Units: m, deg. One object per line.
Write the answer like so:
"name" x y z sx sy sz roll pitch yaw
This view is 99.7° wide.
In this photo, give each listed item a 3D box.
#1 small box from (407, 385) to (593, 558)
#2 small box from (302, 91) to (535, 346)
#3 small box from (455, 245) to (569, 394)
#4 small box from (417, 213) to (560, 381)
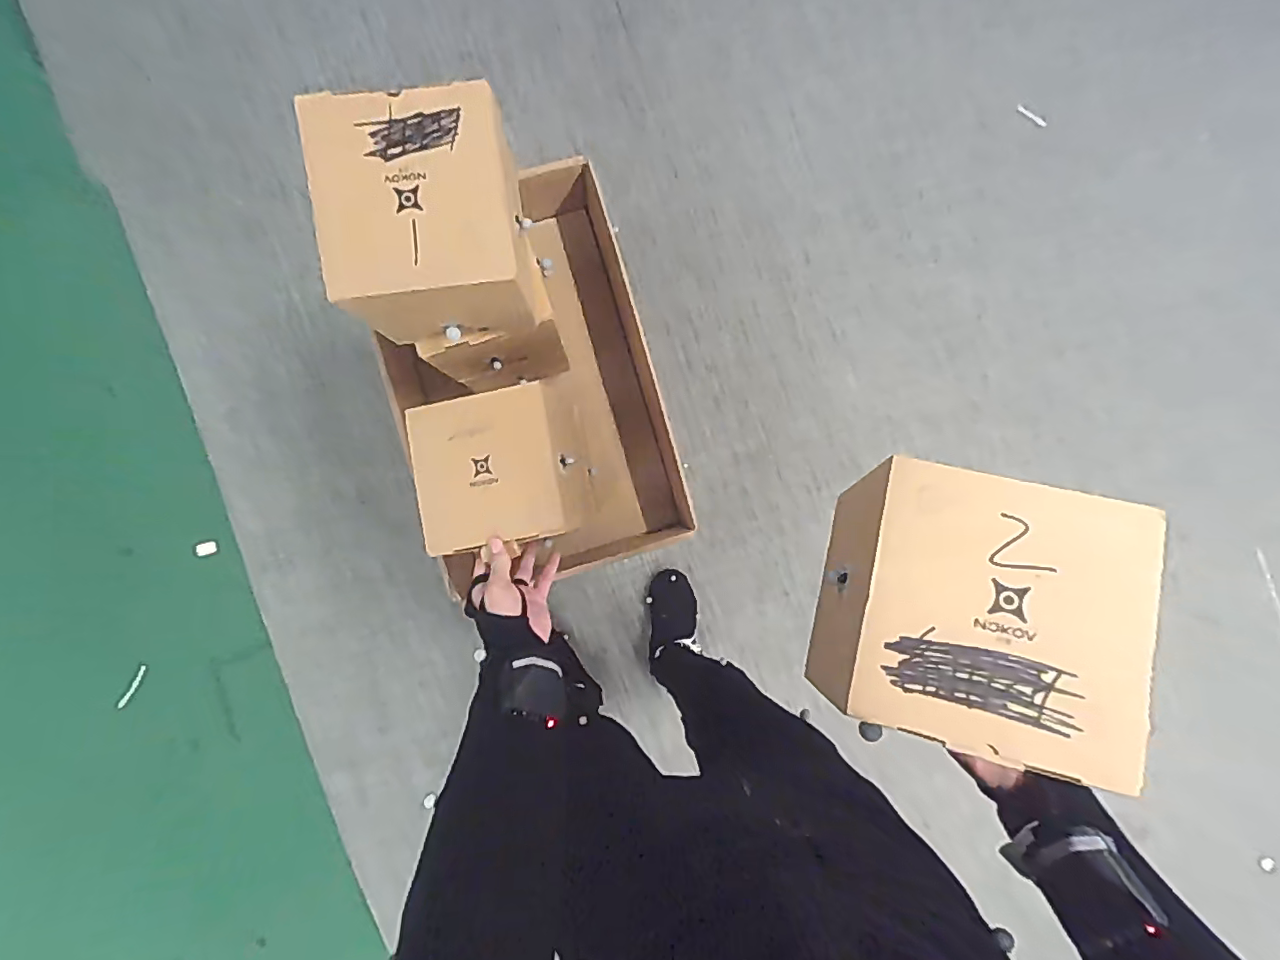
"small box" -0.166 -0.007 0.693 0.168 0.176 0.179 -11 86 8
"small box" -0.209 -0.251 0.555 0.168 0.176 0.179 -8 92 -4
"small box" -0.221 -0.251 0.881 0.168 0.176 0.179 -17 91 -3
"small box" -0.212 -0.249 0.719 0.168 0.176 0.179 -18 92 -4
